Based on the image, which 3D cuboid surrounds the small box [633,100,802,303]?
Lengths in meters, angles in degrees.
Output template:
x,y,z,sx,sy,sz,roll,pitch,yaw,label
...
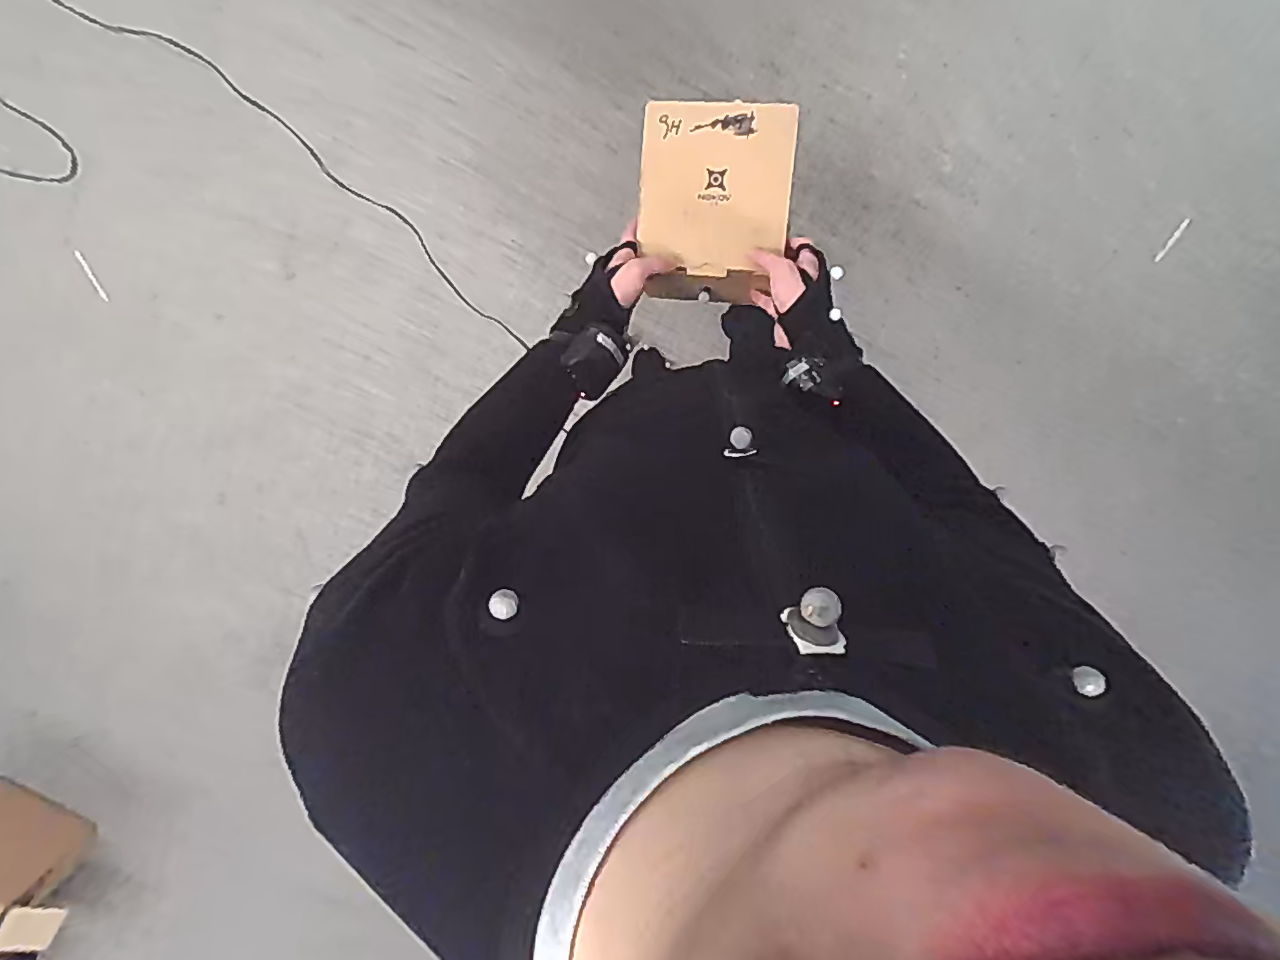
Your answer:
x,y,z,sx,sy,sz,roll,pitch,yaw,label
0.089,-0.318,0.652,0.168,0.176,0.179,5,98,6,small box
